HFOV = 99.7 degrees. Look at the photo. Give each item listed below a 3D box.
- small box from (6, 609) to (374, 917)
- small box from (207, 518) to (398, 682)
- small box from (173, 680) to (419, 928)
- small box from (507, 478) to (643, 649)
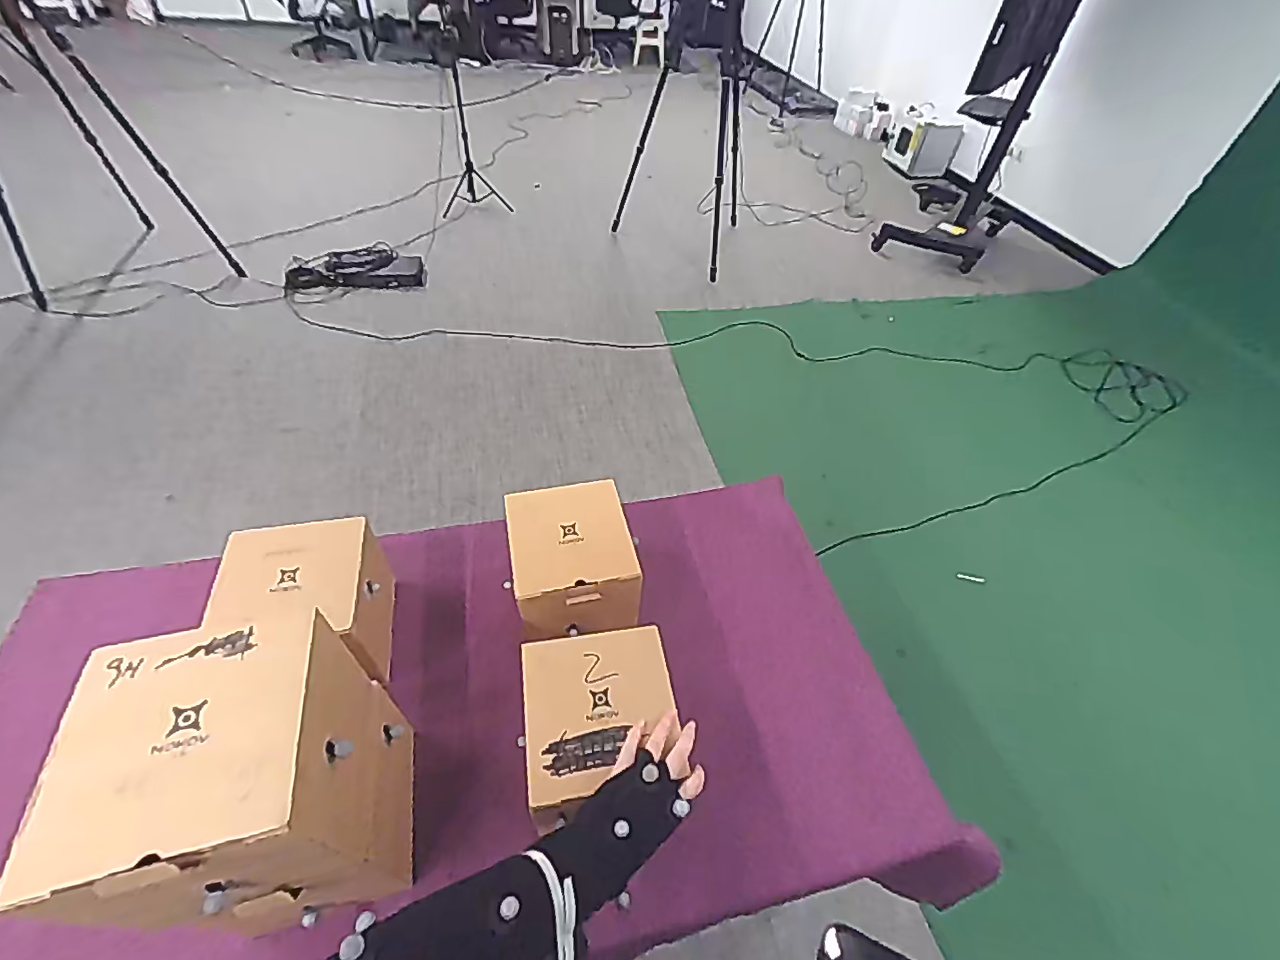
[{"bbox_3d":[-0.339,0.241,0.460,0.168,0.176,0.179,-10,49,-13],"label":"small box"},{"bbox_3d":[-0.437,0.178,0.733,0.168,0.176,0.179,-7,49,-12],"label":"small box"},{"bbox_3d":[-0.346,0.349,0.585,0.168,0.176,0.179,-10,49,-12],"label":"small box"},{"bbox_3d":[-0.101,0.124,0.809,0.168,0.176,0.179,-9,51,-13],"label":"small box"}]
